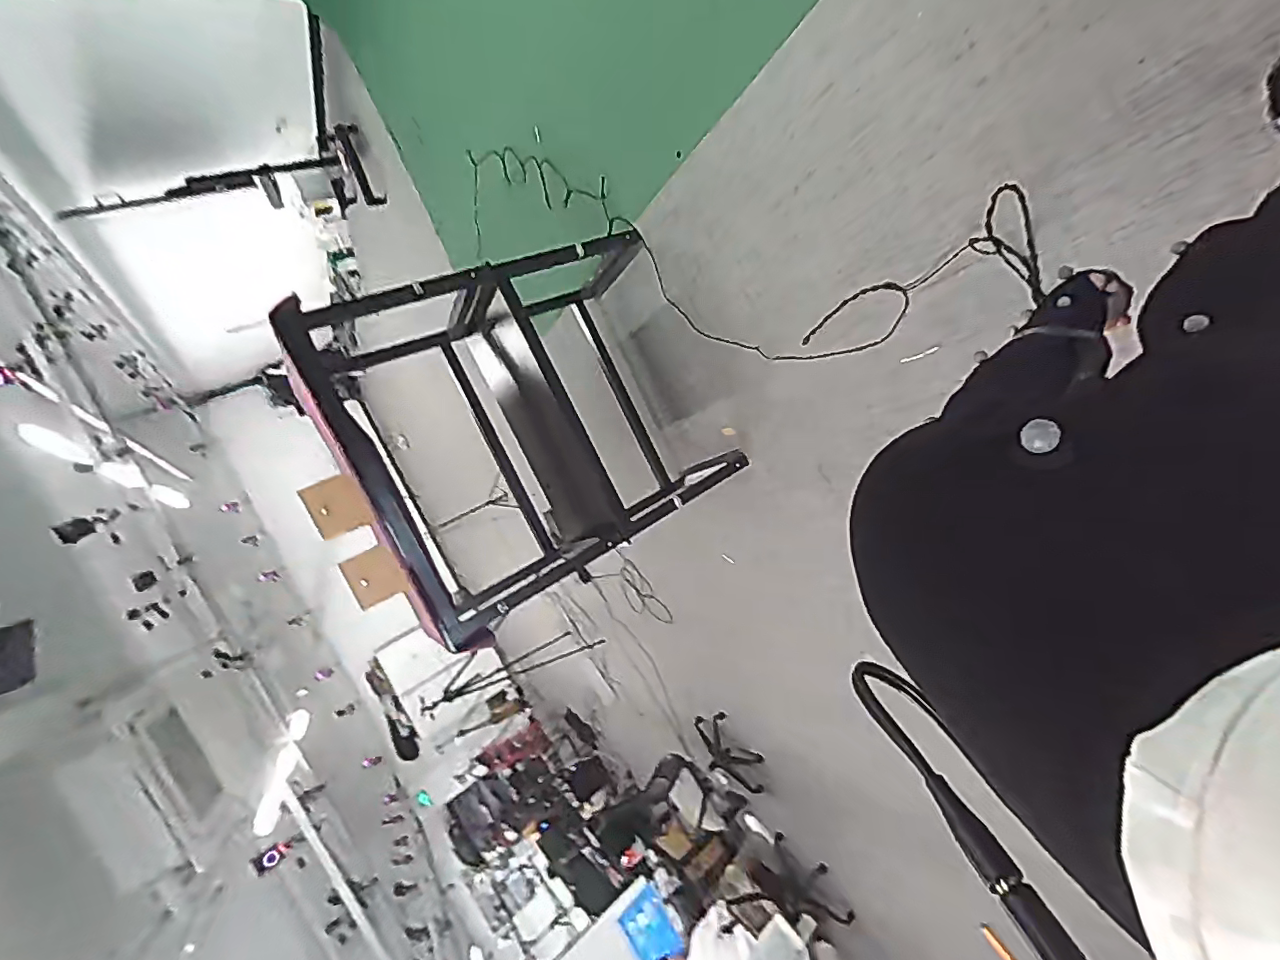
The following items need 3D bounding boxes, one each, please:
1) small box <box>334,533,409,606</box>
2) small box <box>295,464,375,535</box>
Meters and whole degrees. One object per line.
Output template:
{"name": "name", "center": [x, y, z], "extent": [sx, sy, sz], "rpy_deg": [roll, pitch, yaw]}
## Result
{"name": "small box", "center": [-0.879, 0.290, 1.775], "extent": [0.168, 0.176, 0.179], "rpy_deg": [-15, 100, 60]}
{"name": "small box", "center": [-0.987, 0.061, 1.758], "extent": [0.179, 0.176, 0.168], "rpy_deg": [63, 152, -3]}
